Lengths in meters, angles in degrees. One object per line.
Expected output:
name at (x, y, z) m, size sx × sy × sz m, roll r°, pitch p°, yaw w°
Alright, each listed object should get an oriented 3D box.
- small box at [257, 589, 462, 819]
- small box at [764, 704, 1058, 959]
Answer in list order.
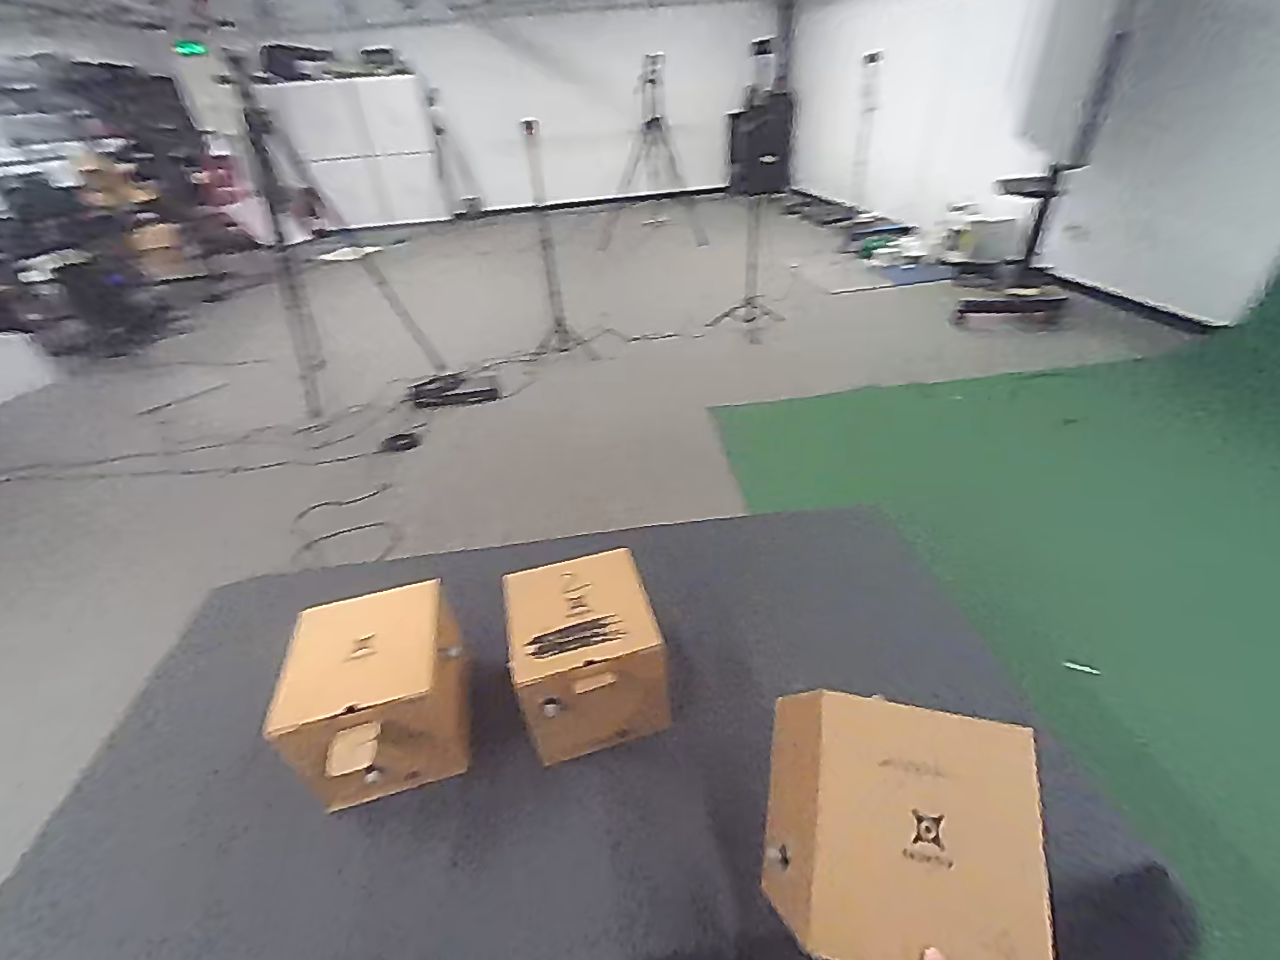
small box at (-0.322, 0.269, 0.664) m, size 0.168 × 0.176 × 0.179 m, roll -13°, pitch 36°, yaw -12°
small box at (0.208, 0.300, 0.459) m, size 0.168 × 0.176 × 0.179 m, roll 10°, pitch 66°, yaw 3°
